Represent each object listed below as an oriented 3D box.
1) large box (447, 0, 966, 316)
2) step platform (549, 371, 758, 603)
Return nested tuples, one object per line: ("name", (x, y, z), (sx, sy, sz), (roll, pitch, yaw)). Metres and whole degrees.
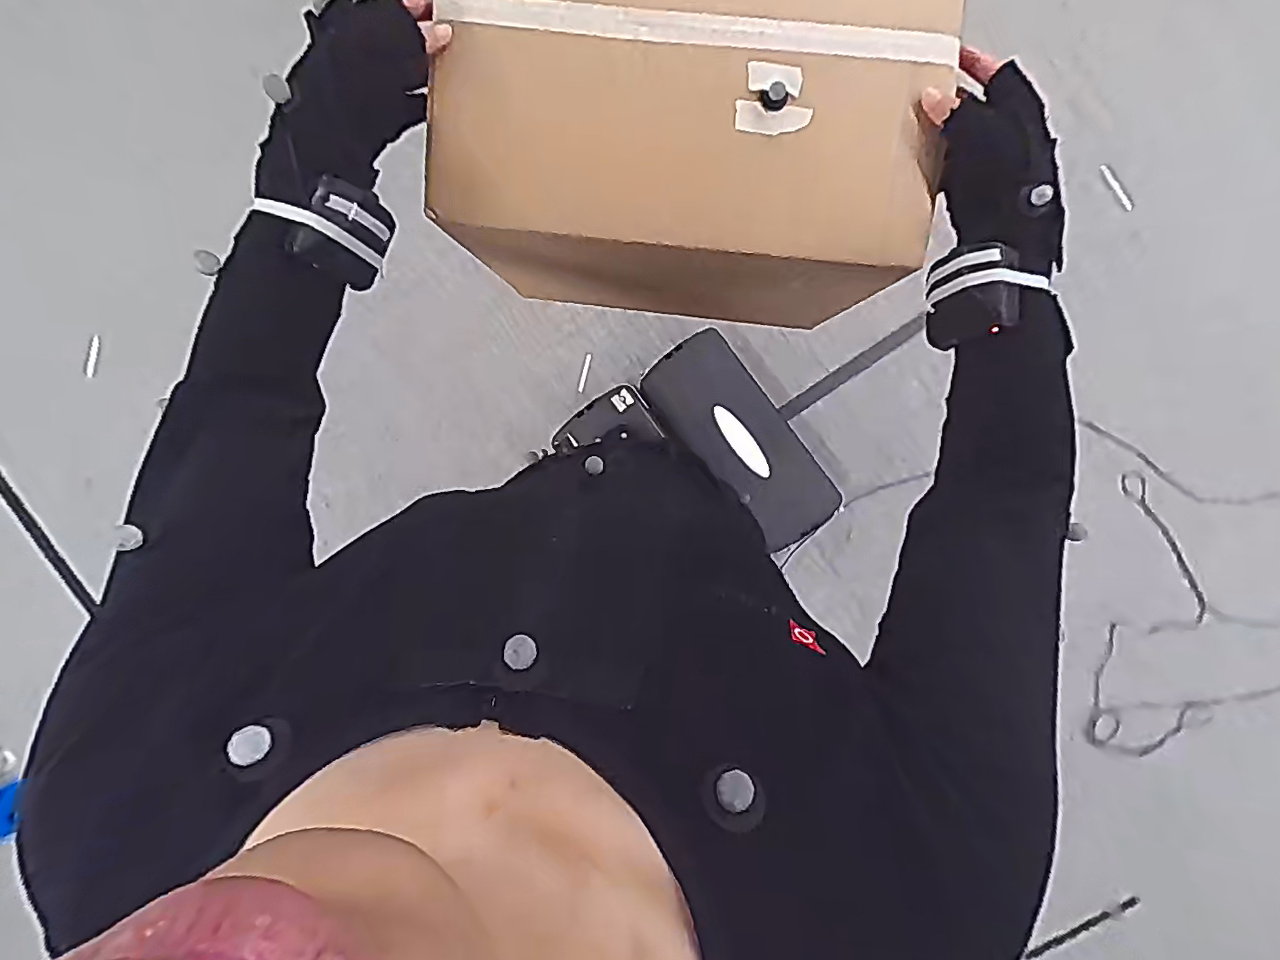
("large box", (0.053, -0.372, 0.572), (0.408, 0.320, 0.320), (7, 98, 1))
("step platform", (0.041, 0.019, 1.577), (0.286, 0.204, 0.684), (-38, 90, 5))
